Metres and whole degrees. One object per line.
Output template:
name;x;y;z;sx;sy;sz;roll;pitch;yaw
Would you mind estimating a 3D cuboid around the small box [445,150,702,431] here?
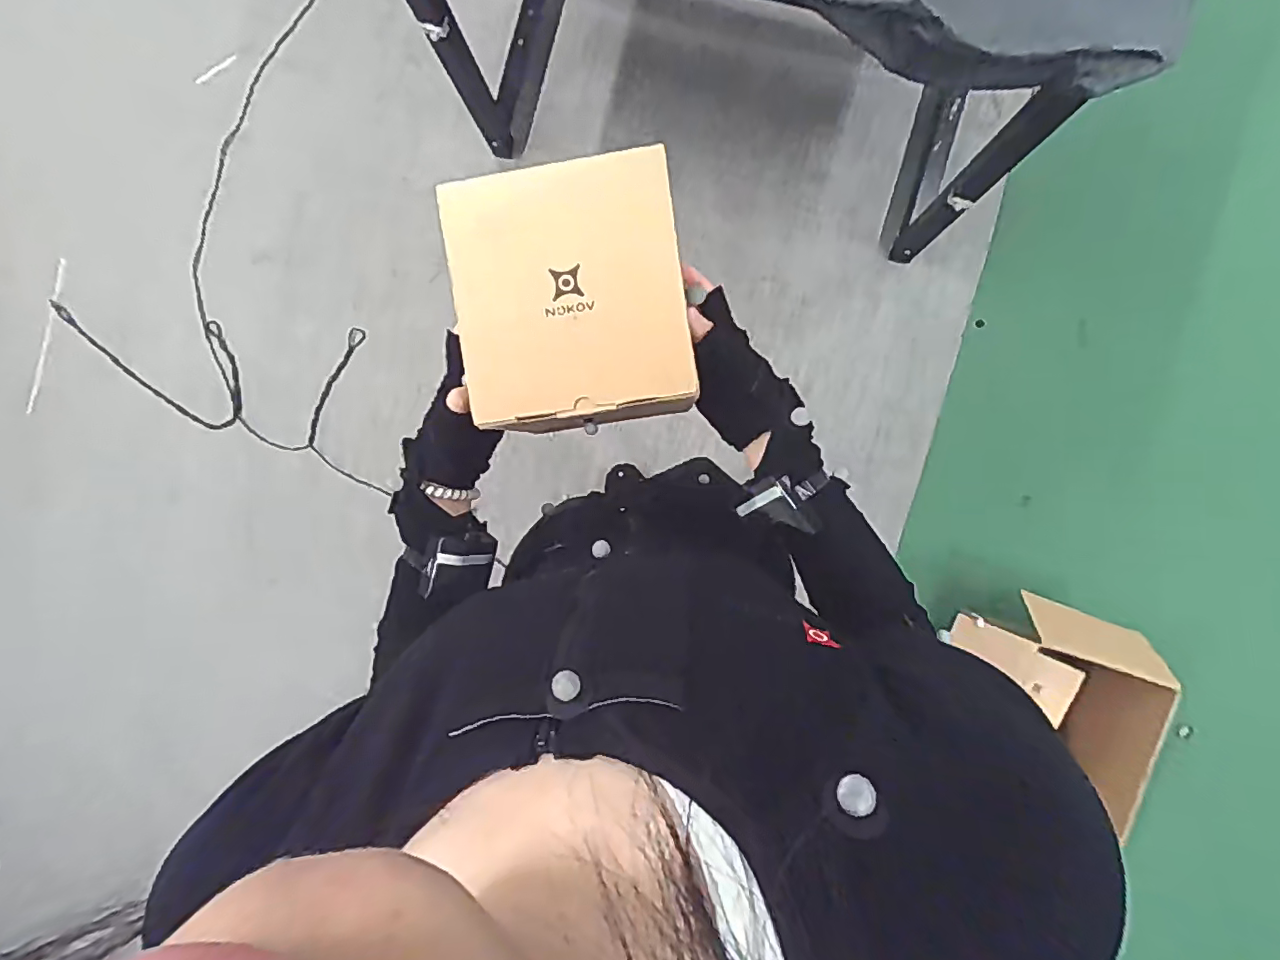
small box;-0.046;-0.140;0.464;0.168;0.176;0.179;-8;94;2
